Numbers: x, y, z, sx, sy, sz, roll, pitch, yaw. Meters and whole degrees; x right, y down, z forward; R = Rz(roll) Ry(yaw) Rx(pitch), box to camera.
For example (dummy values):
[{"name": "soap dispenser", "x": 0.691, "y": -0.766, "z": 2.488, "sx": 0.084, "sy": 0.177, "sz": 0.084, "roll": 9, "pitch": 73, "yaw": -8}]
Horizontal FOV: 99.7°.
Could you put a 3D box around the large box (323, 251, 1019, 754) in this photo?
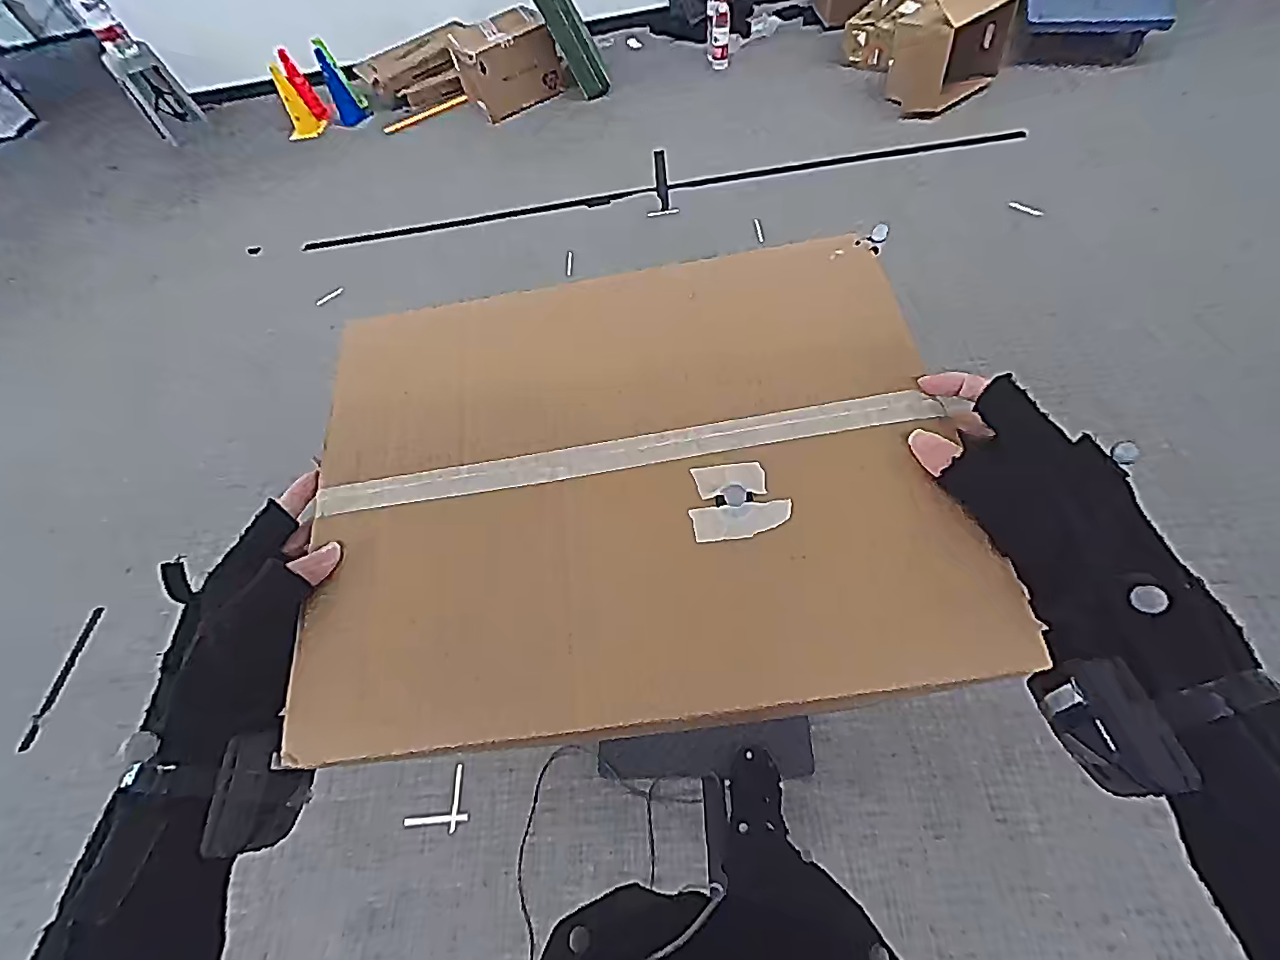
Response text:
[{"name": "large box", "x": 0.009, "y": 0.051, "z": 0.498, "sx": 0.408, "sy": 0.320, "sz": 0.320, "roll": -9, "pitch": 65, "yaw": 3}]

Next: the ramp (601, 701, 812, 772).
[{"name": "ramp", "x": 0.142, "y": 0.204, "z": 1.420, "sx": 0.509, "sy": 0.206, "sz": 0.991, "roll": -5, "pitch": 58, "yaw": 5}]
